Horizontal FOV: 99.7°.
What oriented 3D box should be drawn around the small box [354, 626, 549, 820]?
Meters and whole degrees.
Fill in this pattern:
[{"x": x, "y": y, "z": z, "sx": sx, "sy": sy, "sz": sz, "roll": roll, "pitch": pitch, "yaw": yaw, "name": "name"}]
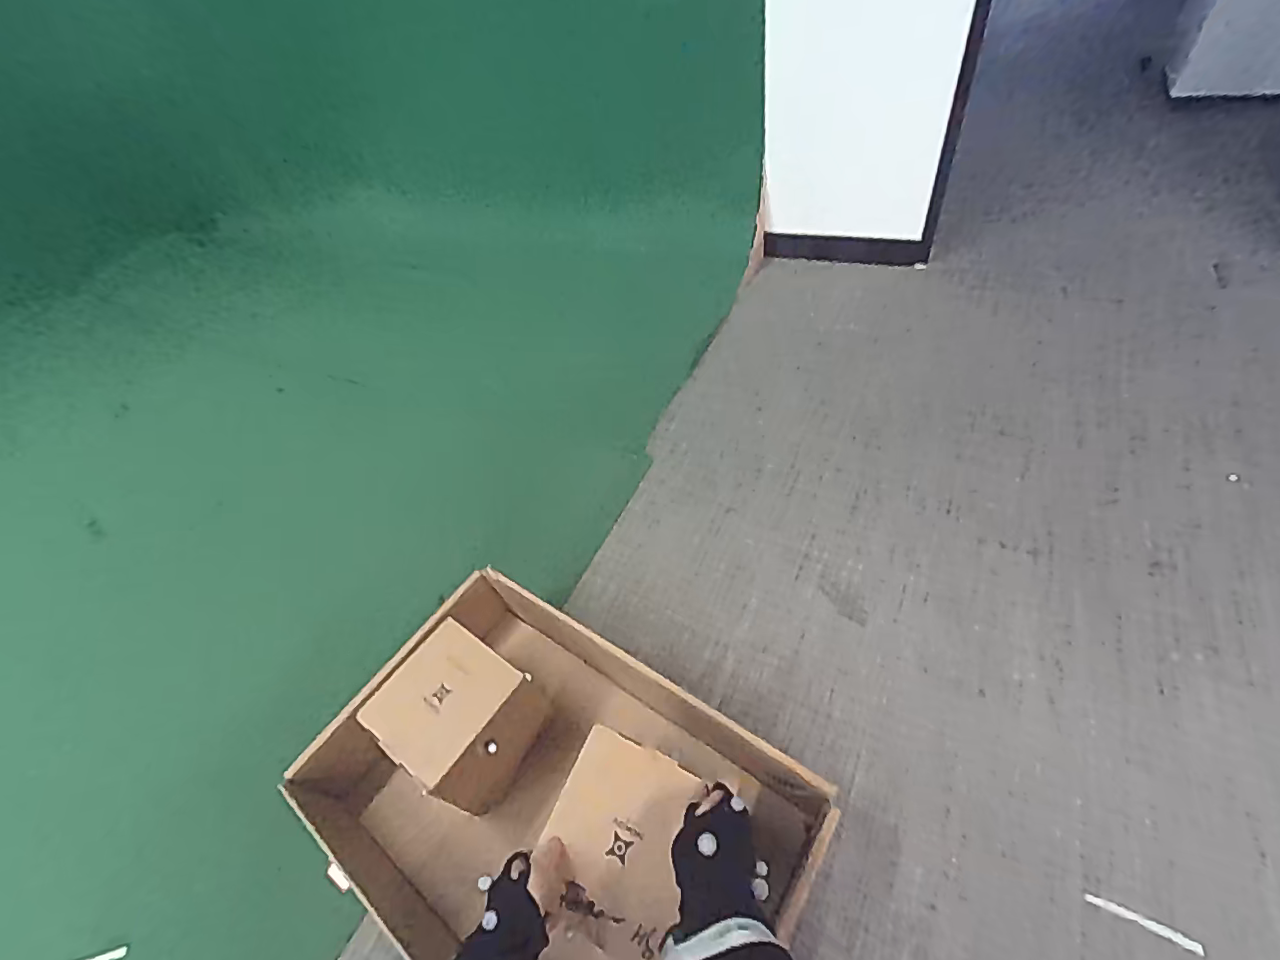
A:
[{"x": -0.258, "y": 0.353, "z": 0.782, "sx": 0.168, "sy": 0.176, "sz": 0.179, "roll": 26, "pitch": 59, "yaw": 28, "name": "small box"}]
